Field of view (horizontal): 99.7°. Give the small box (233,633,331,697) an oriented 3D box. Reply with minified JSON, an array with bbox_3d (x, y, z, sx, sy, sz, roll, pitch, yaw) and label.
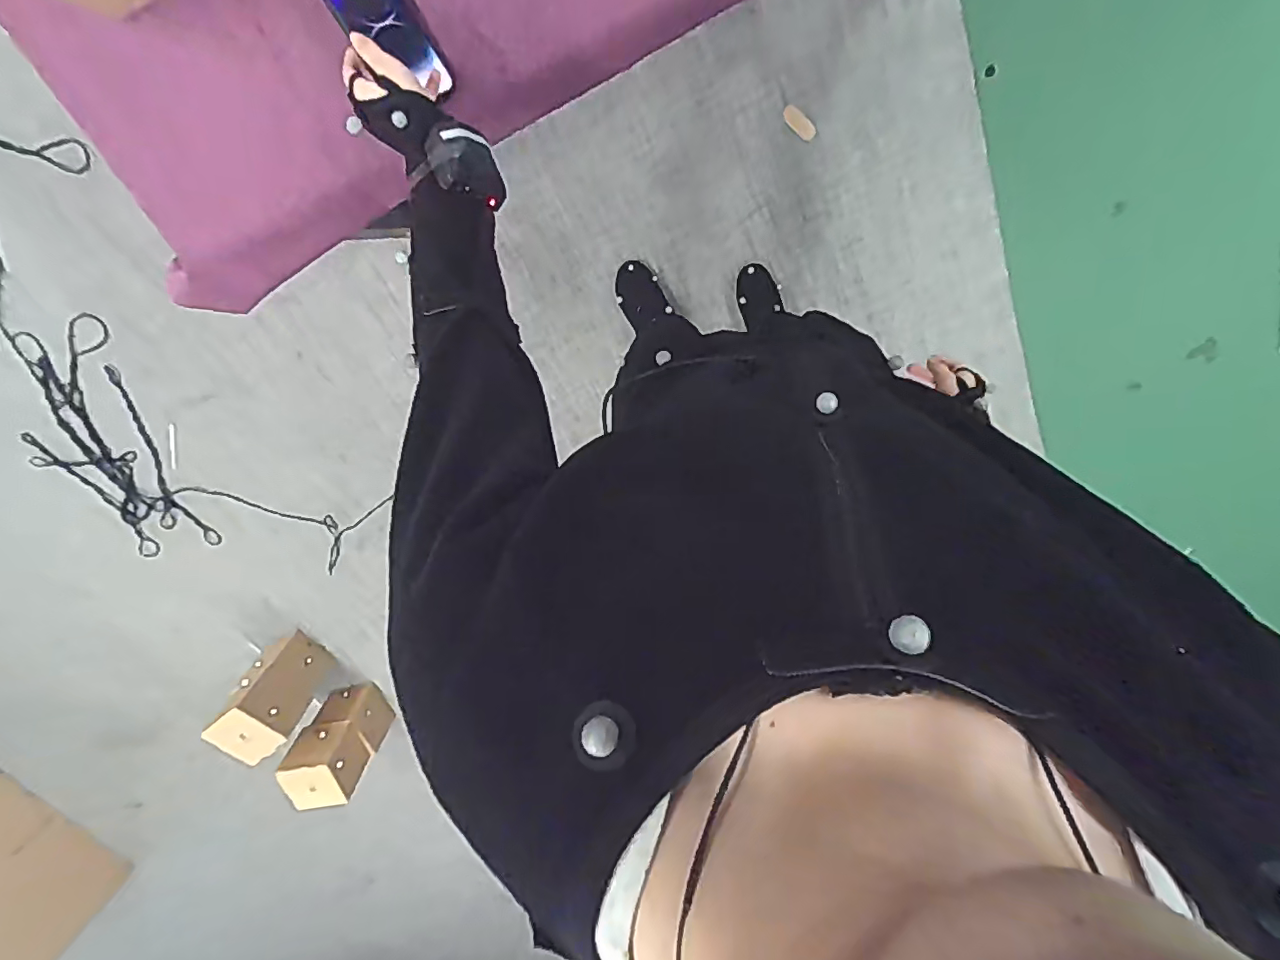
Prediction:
[{"bbox_3d":[-1.138,0.626,1.742,0.179,0.176,0.168,-31,112,12],"label":"small box"}]

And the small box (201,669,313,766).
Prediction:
[{"bbox_3d":[-1.118,0.695,1.595,0.168,0.176,0.179,-36,111,13],"label":"small box"}]

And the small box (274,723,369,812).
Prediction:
[{"bbox_3d":[-0.987,0.898,1.696,0.168,0.176,0.179,-9,113,3],"label":"small box"}]
